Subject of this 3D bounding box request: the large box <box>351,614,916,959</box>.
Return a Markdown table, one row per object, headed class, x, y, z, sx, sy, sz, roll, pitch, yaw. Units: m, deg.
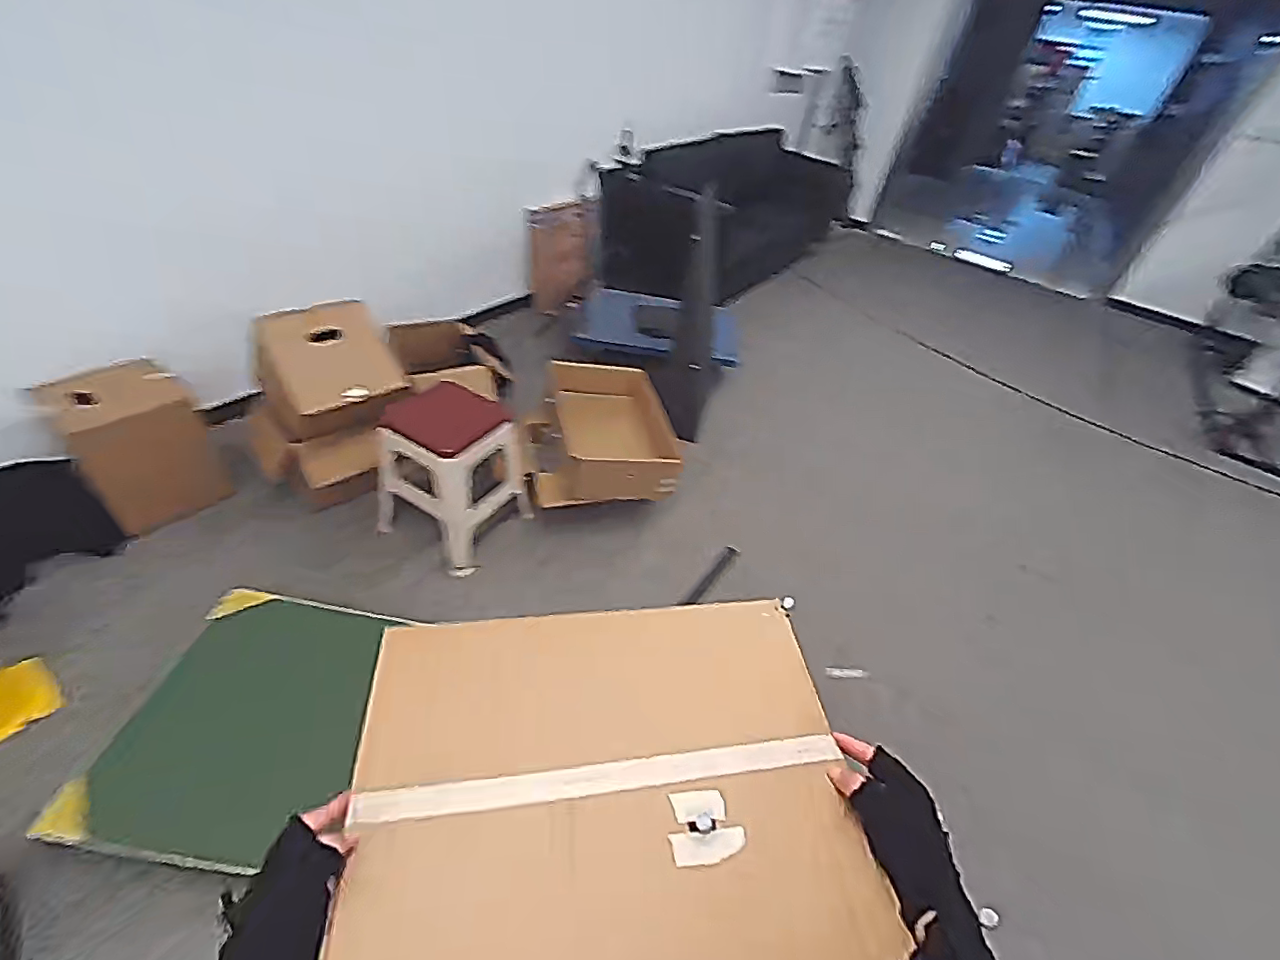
| class | x | y | z | sx | sy | sz | roll | pitch | yaw |
| --- | --- | --- | --- | --- | --- | --- | --- | --- | --- |
| large box | -0.029 | 0.363 | 0.558 | 0.408 | 0.320 | 0.320 | 0 | 46 | -10 |
